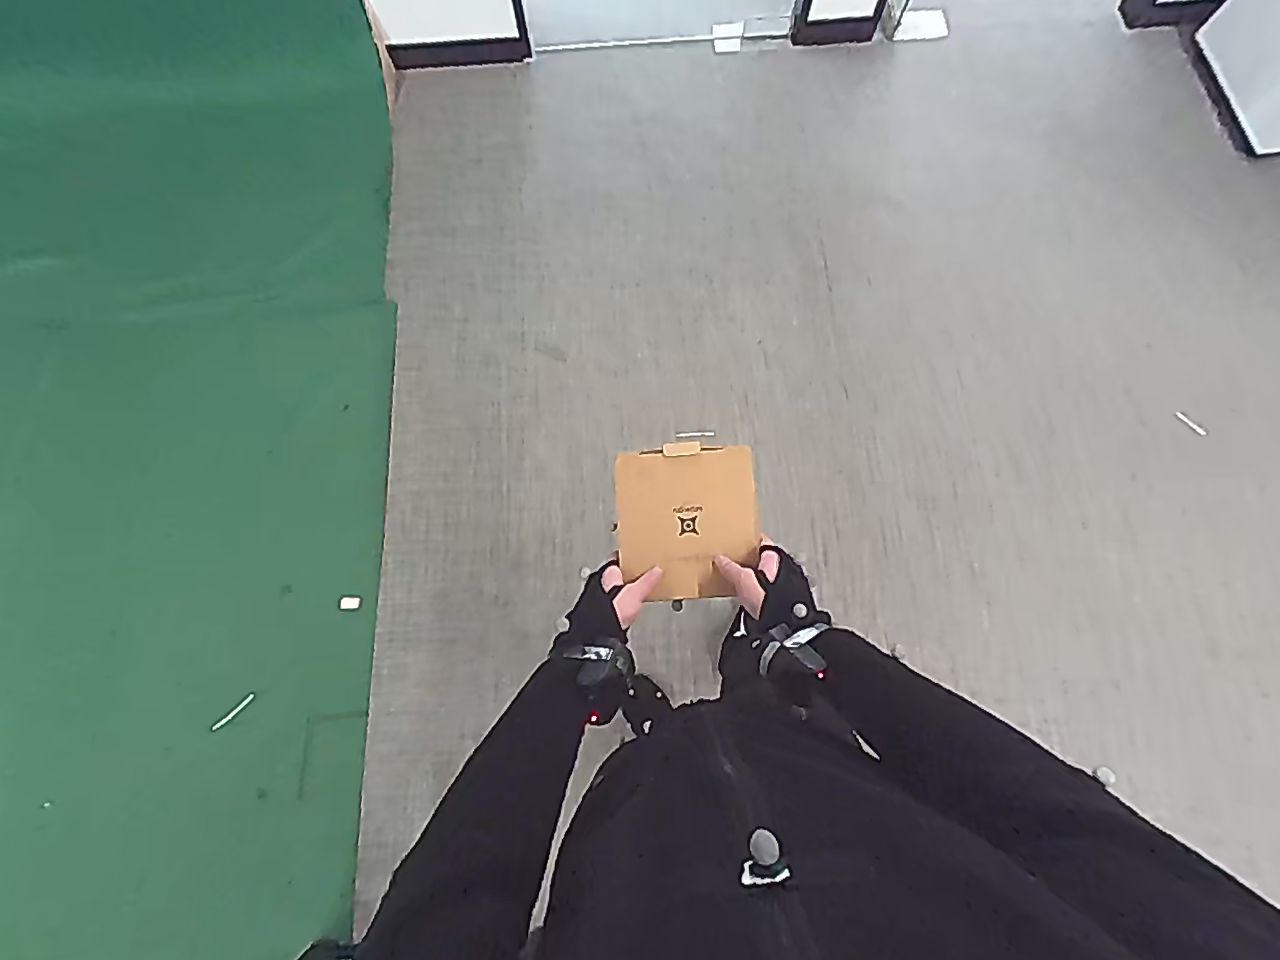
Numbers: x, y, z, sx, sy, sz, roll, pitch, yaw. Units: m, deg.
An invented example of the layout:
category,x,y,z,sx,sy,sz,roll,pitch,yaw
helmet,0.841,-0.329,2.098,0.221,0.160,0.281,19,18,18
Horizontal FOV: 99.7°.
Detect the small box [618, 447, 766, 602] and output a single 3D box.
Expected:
category,x,y,z,sx,sy,sz,roll,pitch,yaw
small box,0.058,0.064,0.688,0.168,0.176,0.179,-2,79,2
